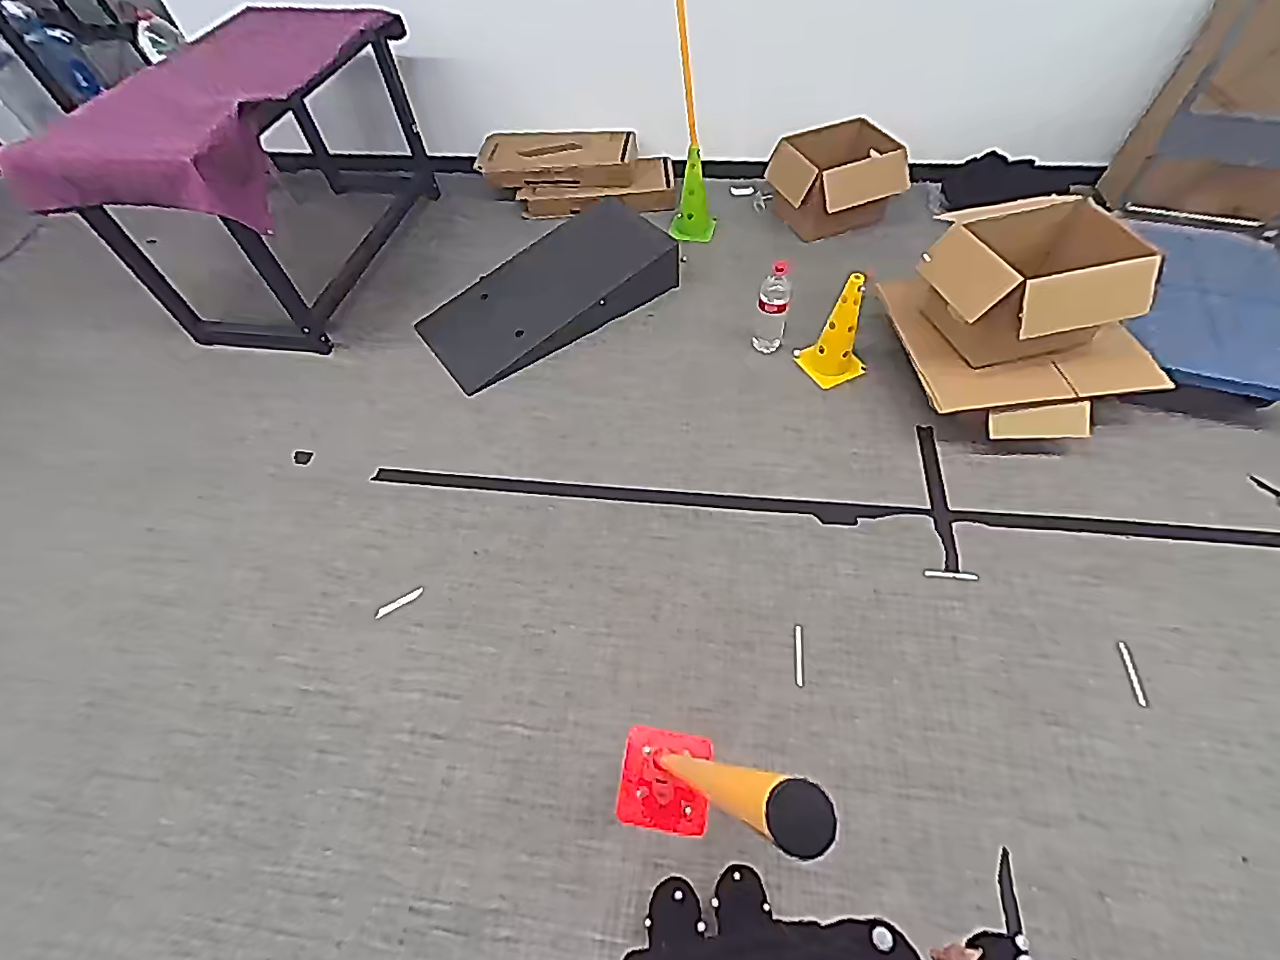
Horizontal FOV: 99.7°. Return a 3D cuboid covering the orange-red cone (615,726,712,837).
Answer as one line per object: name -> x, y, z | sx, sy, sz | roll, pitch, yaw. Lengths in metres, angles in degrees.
orange-red cone -> 0.049, 0.575, 1.076 | 0.198, 0.360, 0.199 | 8, 56, 8
